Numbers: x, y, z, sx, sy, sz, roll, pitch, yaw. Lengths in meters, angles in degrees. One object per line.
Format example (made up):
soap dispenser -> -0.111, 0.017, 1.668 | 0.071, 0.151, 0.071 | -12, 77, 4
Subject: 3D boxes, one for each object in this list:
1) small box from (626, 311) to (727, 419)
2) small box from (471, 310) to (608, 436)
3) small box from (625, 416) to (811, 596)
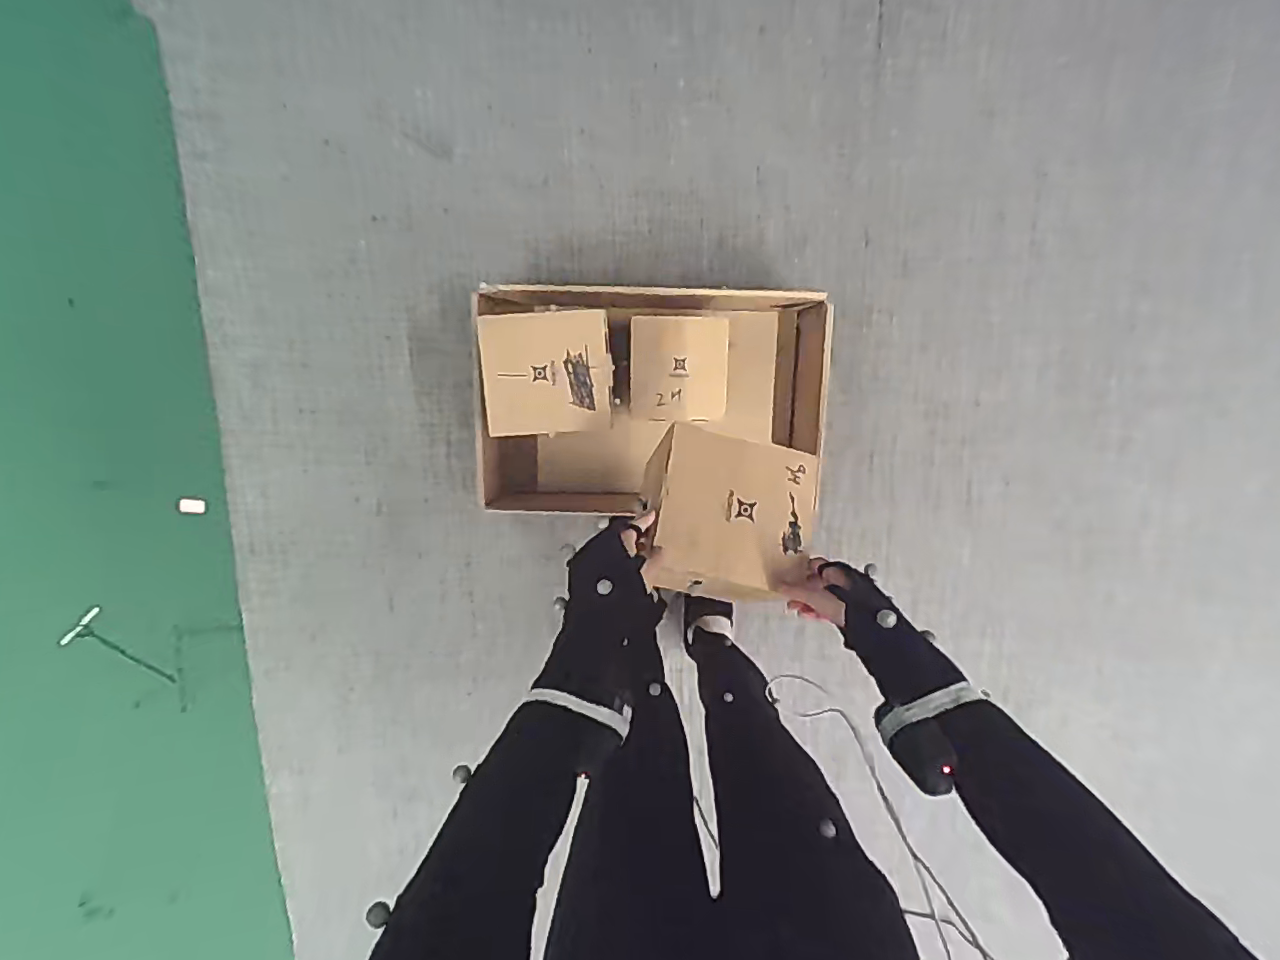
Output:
small box -> 0.058, -0.206, 0.980 | 0.168, 0.176, 0.179 | 1, 101, 0
small box -> -0.139, -0.162, 0.817 | 0.179, 0.176, 0.168 | -4, 101, 0
small box -> 0.085, 0.044, 0.664 | 0.179, 0.176, 0.168 | 13, 74, -5
